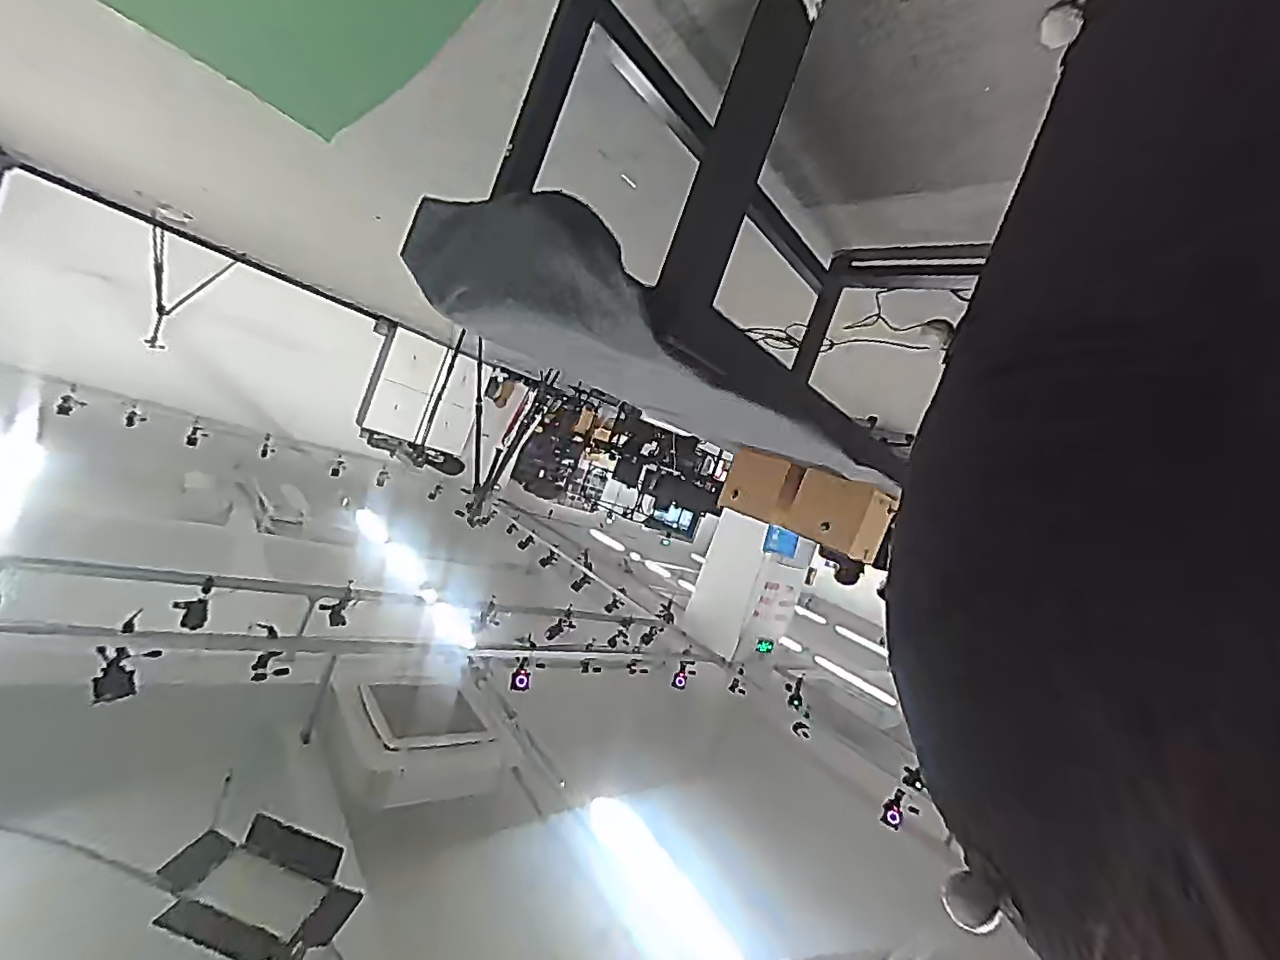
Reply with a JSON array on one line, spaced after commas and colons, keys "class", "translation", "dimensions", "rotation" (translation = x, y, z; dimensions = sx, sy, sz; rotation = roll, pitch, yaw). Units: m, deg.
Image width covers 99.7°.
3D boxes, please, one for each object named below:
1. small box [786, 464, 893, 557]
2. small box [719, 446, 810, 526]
[{"class": "small box", "translation": [0.494, 0.072, 1.323], "dimensions": [0.179, 0.176, 0.168], "rotation": [24, -176, 43]}, {"class": "small box", "translation": [0.353, 0.015, 1.478], "dimensions": [0.168, 0.176, 0.179], "rotation": [18, -177, -45]}]
